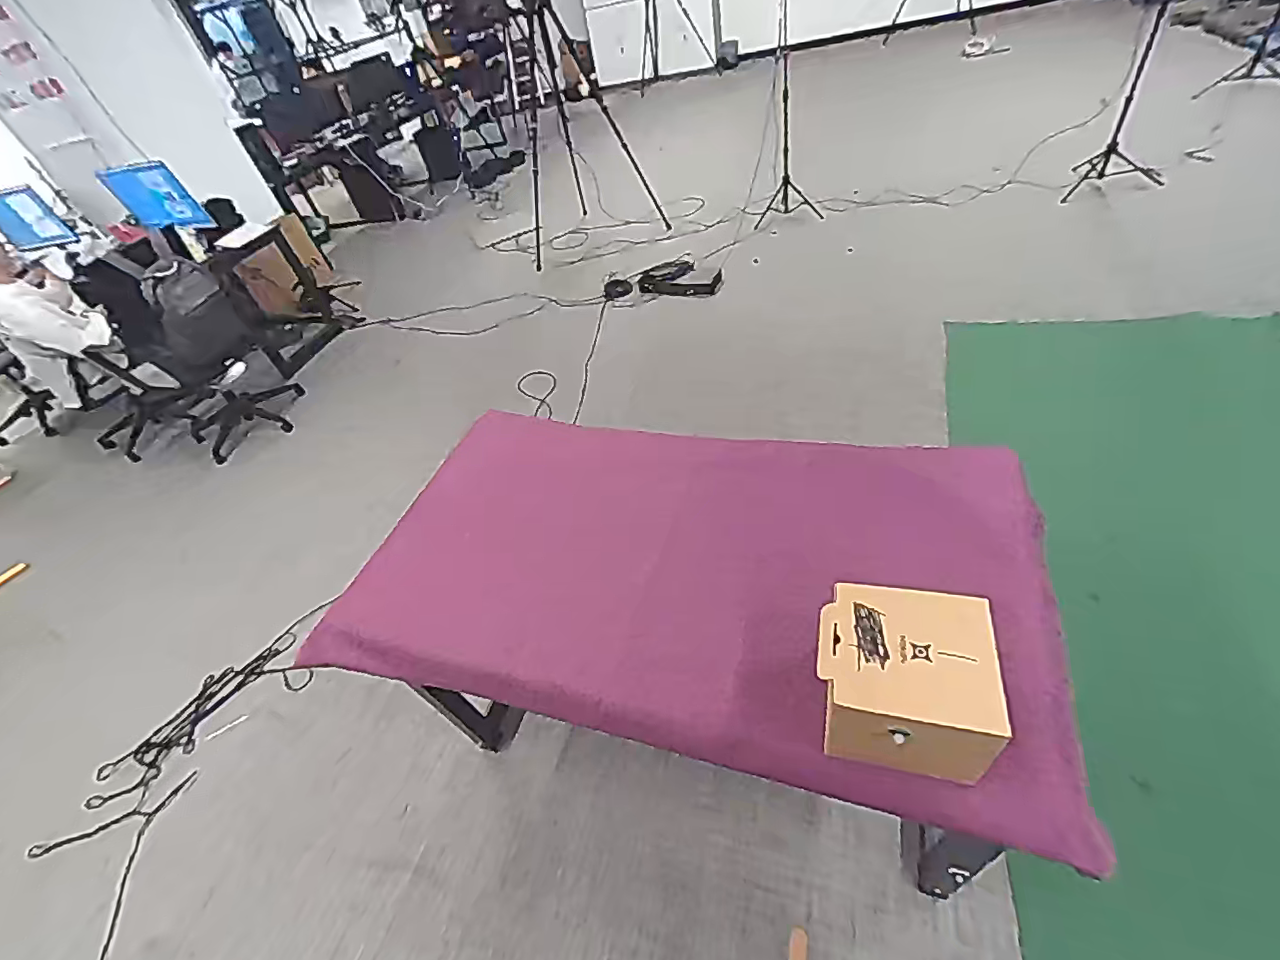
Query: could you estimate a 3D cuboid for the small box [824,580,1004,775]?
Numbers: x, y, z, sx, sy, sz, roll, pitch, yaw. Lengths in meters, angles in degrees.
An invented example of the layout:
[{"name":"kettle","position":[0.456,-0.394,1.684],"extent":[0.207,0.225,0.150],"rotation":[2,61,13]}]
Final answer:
[{"name":"small box","position":[0.331,0.250,0.687],"extent":[0.179,0.176,0.168],"rotation":[4,48,19]}]
